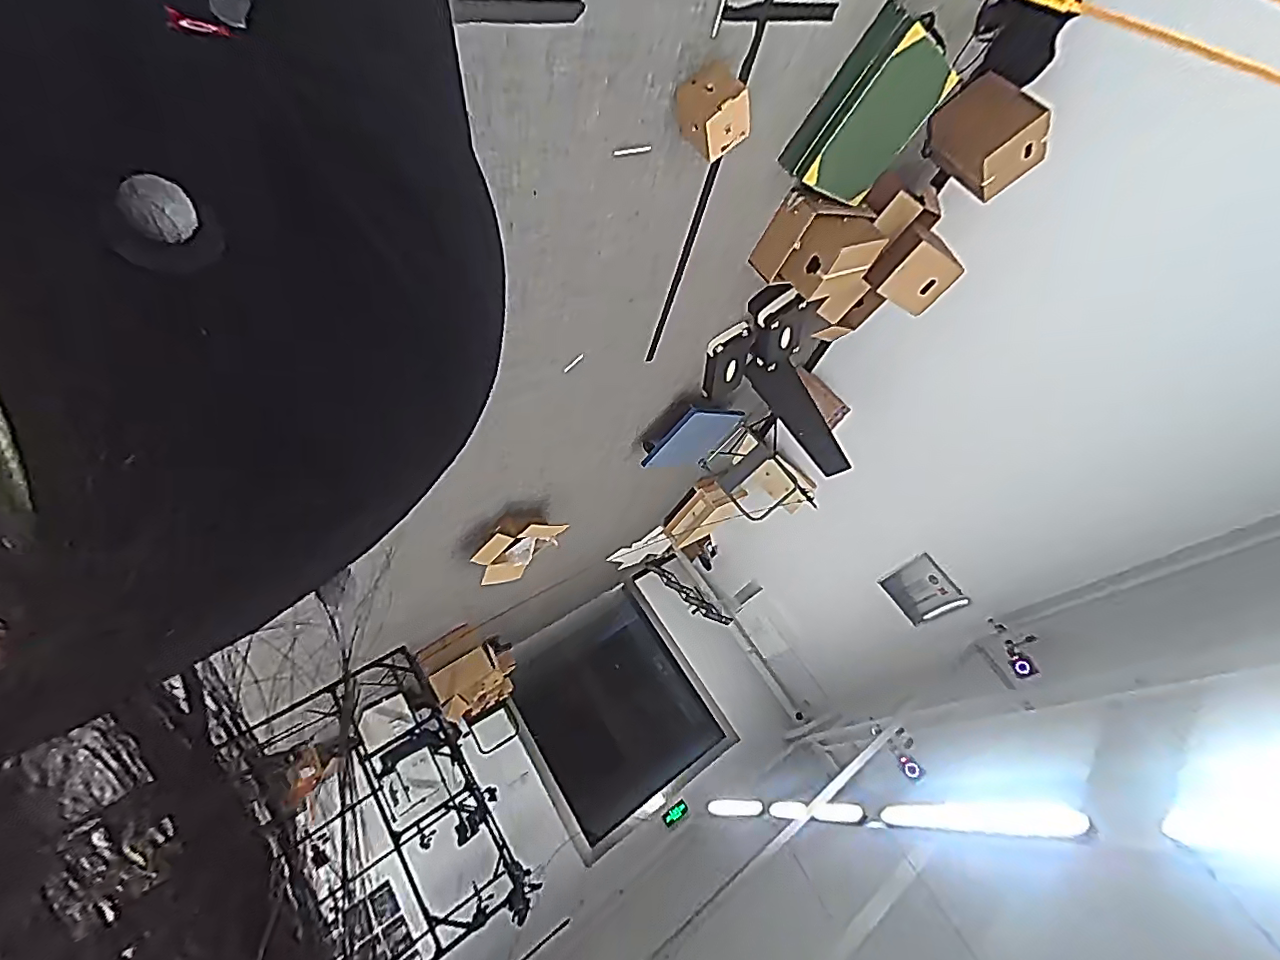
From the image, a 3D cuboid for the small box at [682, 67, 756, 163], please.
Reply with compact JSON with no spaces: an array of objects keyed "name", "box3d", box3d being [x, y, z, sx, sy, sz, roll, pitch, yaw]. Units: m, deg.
[{"name":"small box","box3d":[0.256,-1.194,1.760,0.168,0.176,0.179,-38,162,5]}]
